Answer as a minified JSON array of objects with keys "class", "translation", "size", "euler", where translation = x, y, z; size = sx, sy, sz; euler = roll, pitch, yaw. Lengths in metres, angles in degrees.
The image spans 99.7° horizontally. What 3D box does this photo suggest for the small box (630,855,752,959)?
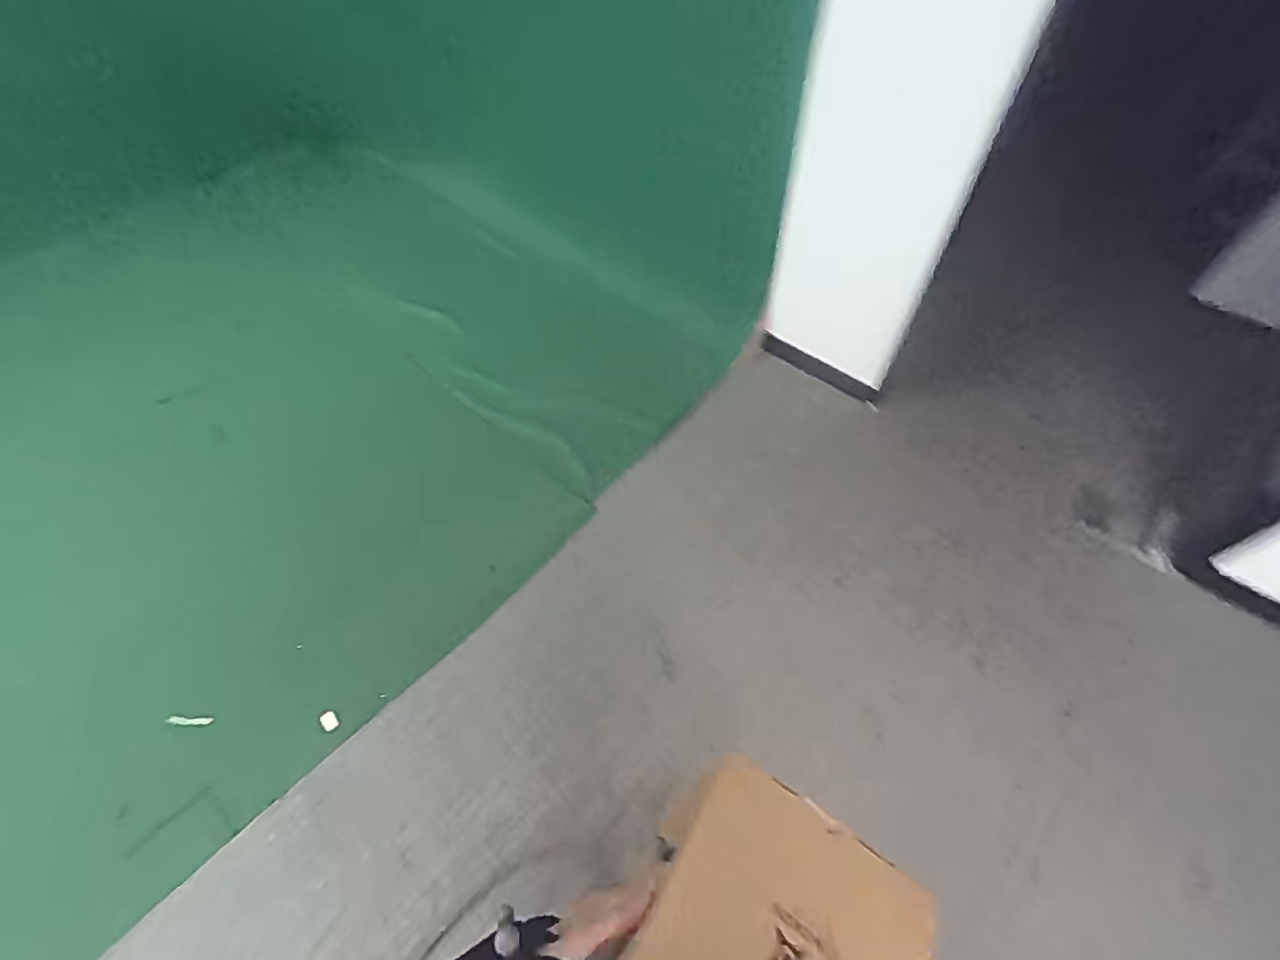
[{"class":"small box","translation":[0.101,0.885,1.070],"size":[0.168,0.176,0.179],"euler":[32,64,21]}]
